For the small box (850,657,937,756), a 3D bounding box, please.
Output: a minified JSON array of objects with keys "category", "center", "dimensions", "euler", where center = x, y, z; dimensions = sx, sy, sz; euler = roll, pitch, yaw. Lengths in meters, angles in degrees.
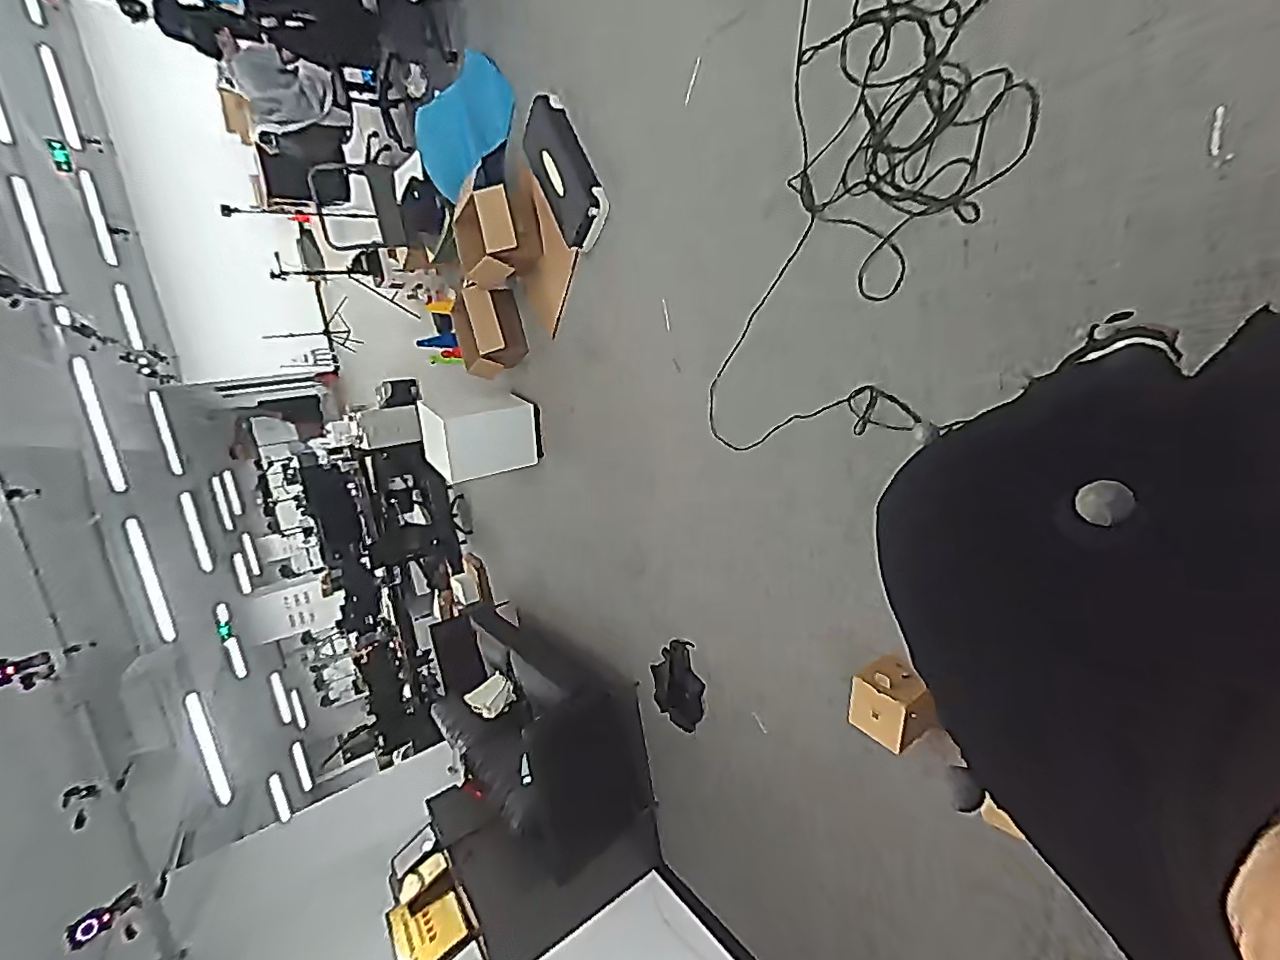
[{"category":"small box","center":[0.744,0.658,1.588],"dimensions":[0.168,0.176,0.179],"euler":[23,122,52]}]
